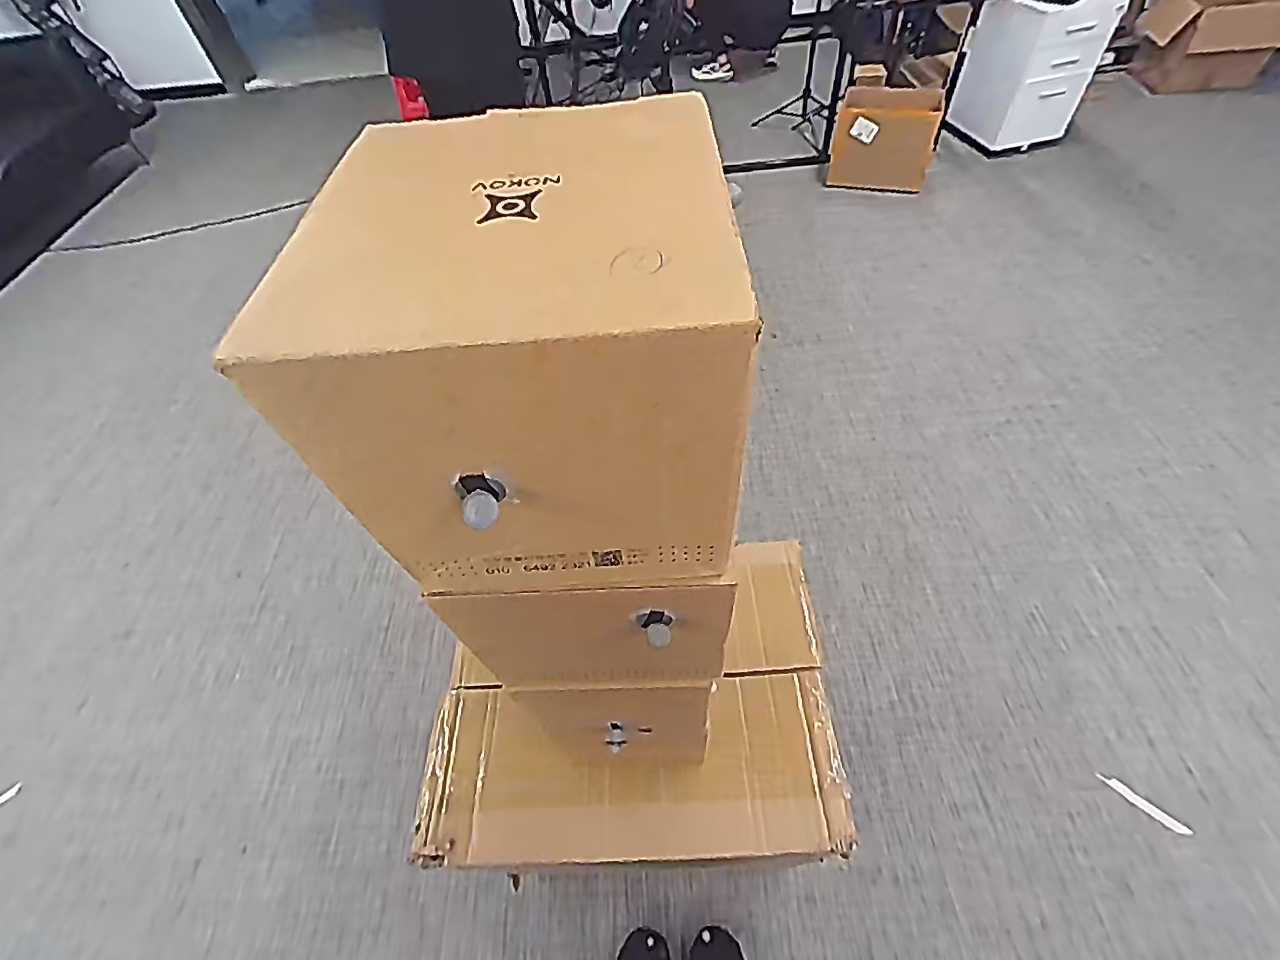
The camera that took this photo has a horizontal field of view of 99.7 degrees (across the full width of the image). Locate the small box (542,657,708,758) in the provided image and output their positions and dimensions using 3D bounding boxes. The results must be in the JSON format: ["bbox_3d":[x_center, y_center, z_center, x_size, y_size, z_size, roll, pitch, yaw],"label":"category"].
[{"bbox_3d":[-0.010,0.237,0.666,0.179,0.176,0.168,-3,53,3],"label":"small box"}]

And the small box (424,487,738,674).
[{"bbox_3d":[-0.029,0.037,0.405,0.179,0.176,0.168,-3,53,3],"label":"small box"}]

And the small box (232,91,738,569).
[{"bbox_3d":[-0.045,-0.064,0.279,0.168,0.176,0.179,-5,53,2],"label":"small box"}]
